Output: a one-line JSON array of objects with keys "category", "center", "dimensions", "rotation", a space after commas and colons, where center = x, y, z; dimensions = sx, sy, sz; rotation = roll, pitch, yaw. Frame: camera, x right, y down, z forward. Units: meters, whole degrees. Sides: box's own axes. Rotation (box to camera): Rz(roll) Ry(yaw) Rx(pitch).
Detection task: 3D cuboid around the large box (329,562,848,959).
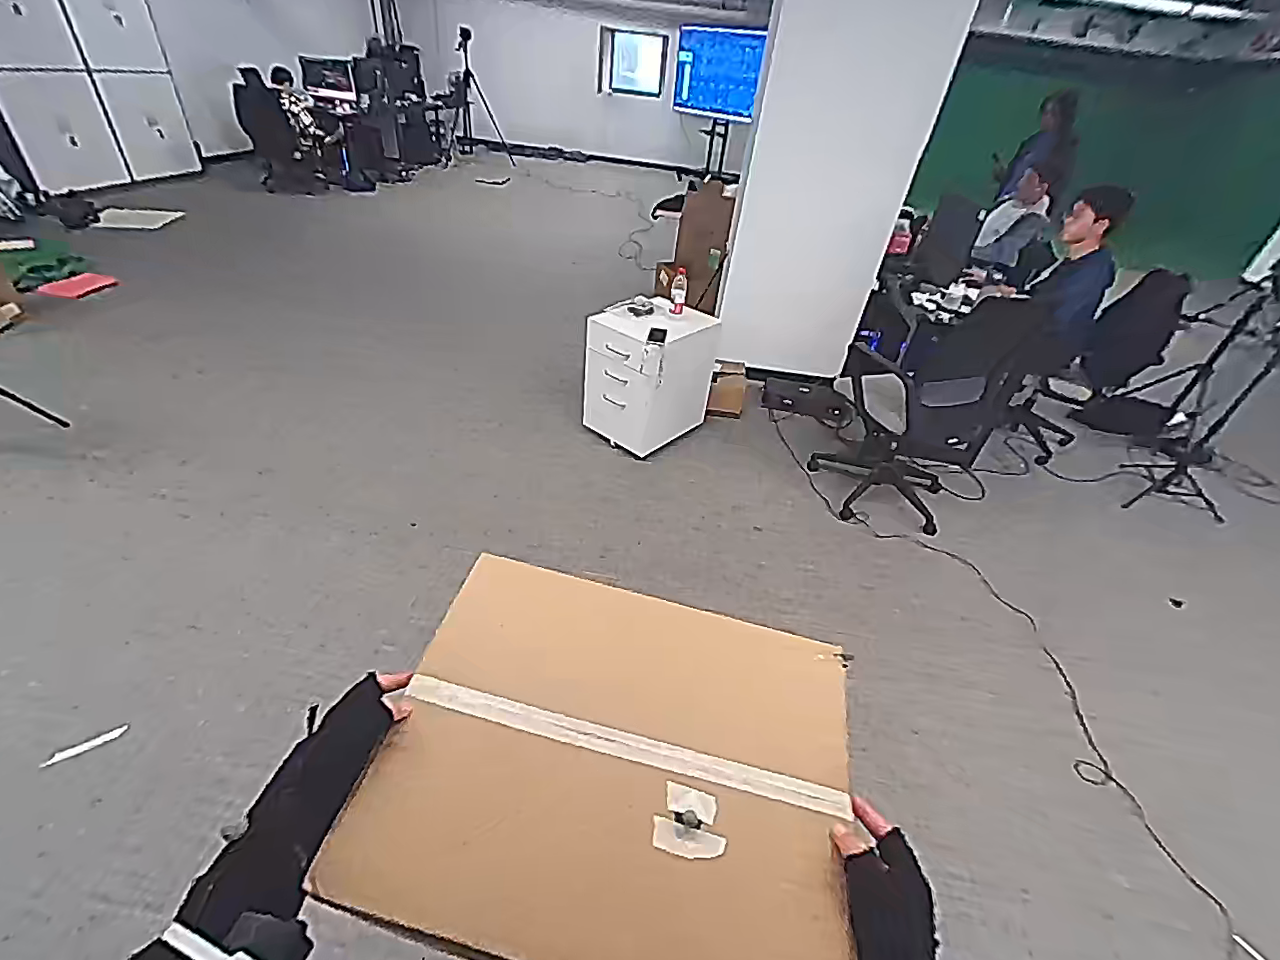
[{"category": "large box", "center": [-0.032, 0.344, 0.600], "dimensions": [0.408, 0.320, 0.320], "rotation": [15, 47, 4]}]
